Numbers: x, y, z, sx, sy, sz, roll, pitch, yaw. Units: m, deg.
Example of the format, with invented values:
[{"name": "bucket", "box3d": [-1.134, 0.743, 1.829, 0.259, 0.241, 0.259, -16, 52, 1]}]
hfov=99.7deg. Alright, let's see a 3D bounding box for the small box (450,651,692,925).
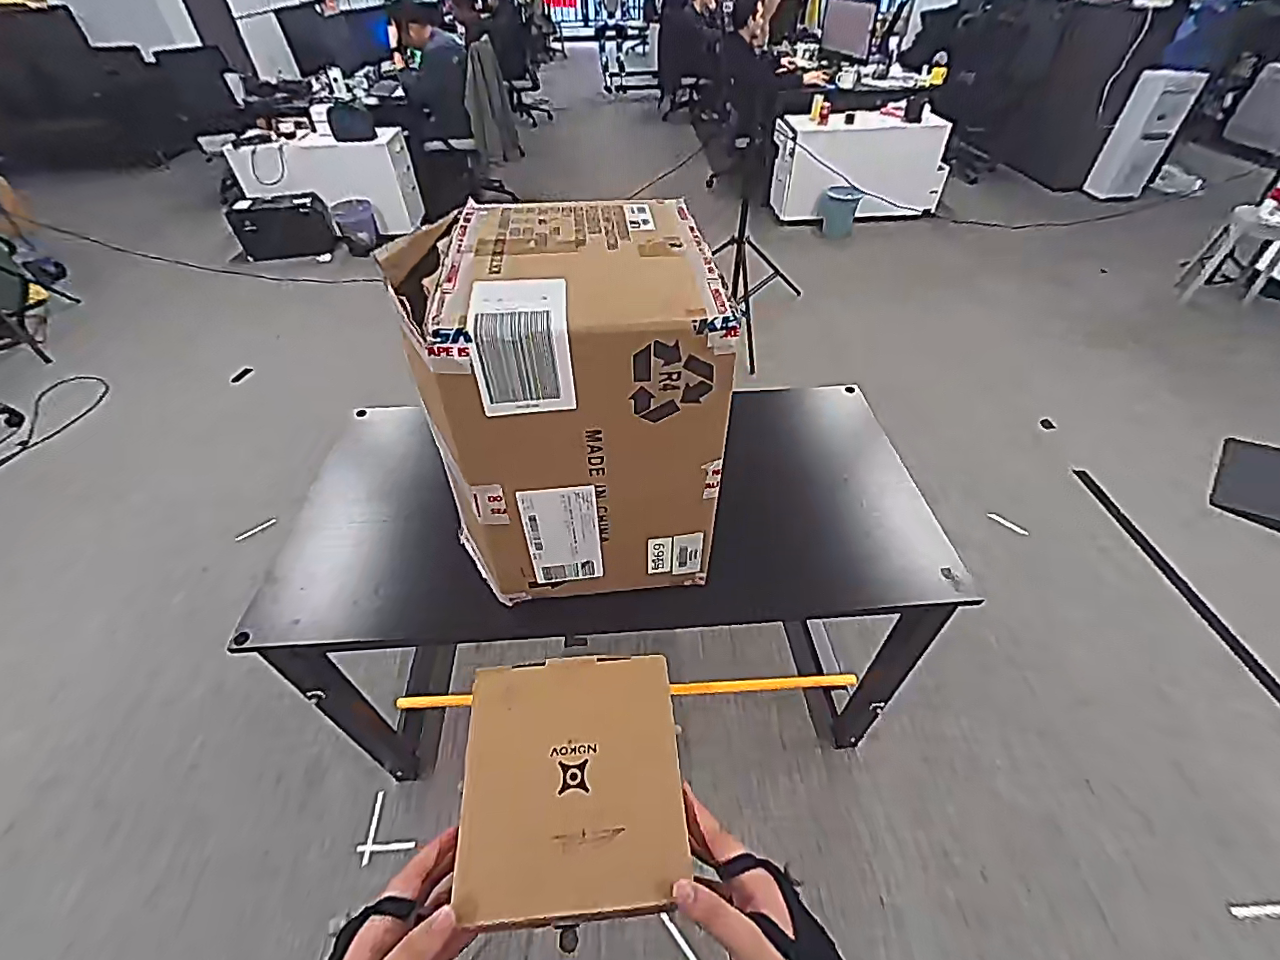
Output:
[{"name": "small box", "box3d": [-0.055, 0.271, 0.477, 0.168, 0.176, 0.179, -3, 50, -5]}]
